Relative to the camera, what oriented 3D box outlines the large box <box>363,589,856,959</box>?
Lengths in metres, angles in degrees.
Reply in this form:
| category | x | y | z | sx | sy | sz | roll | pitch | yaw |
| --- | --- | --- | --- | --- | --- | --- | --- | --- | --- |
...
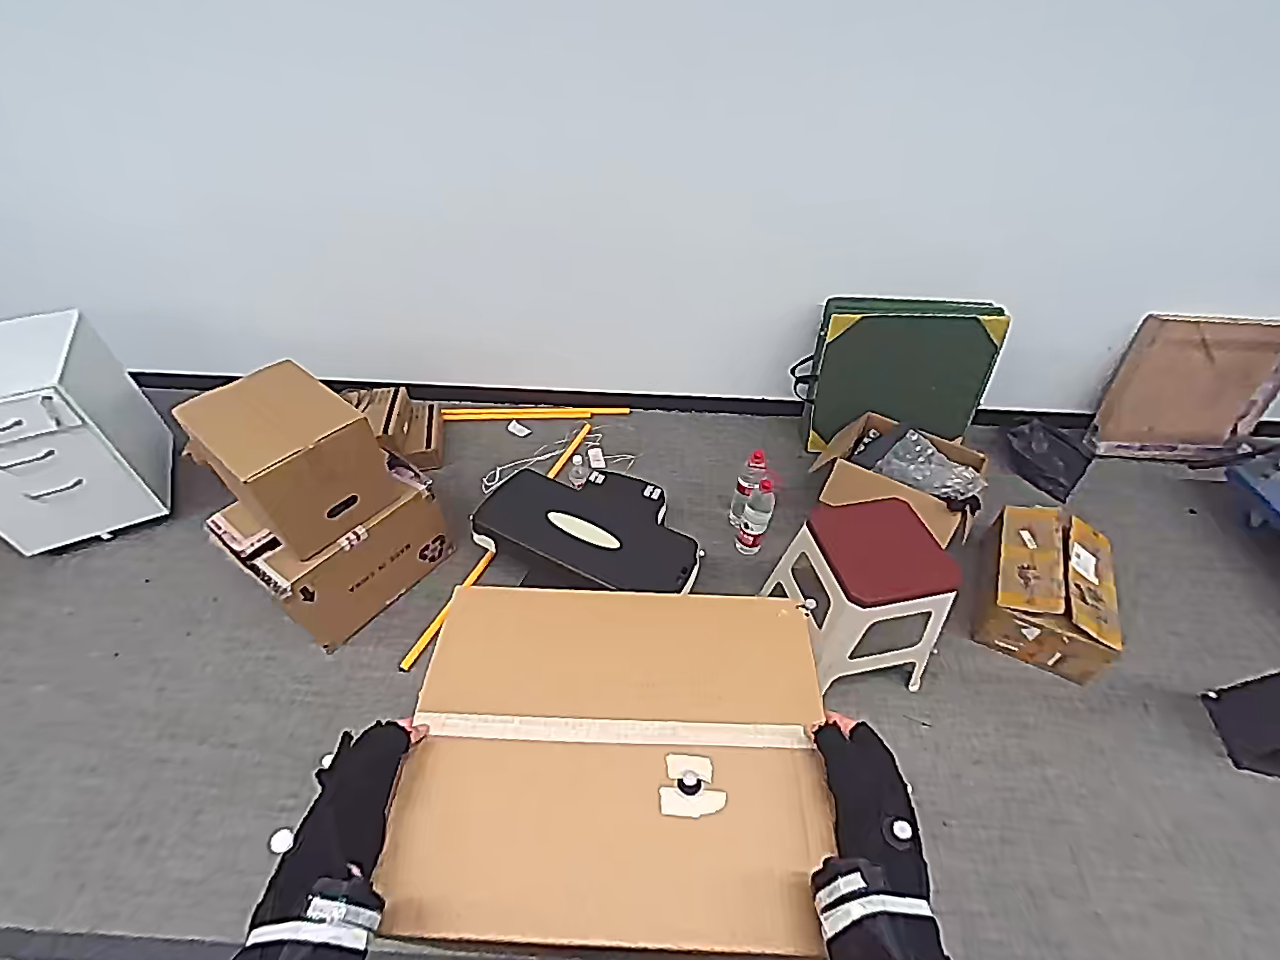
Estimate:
| category | x | y | z | sx | sy | sz | roll | pitch | yaw |
| --- | --- | --- | --- | --- | --- | --- | --- | --- | --- |
| large box | -0.025 | 0.348 | 0.637 | 0.408 | 0.320 | 0.320 | 3 | 47 | 1 |
